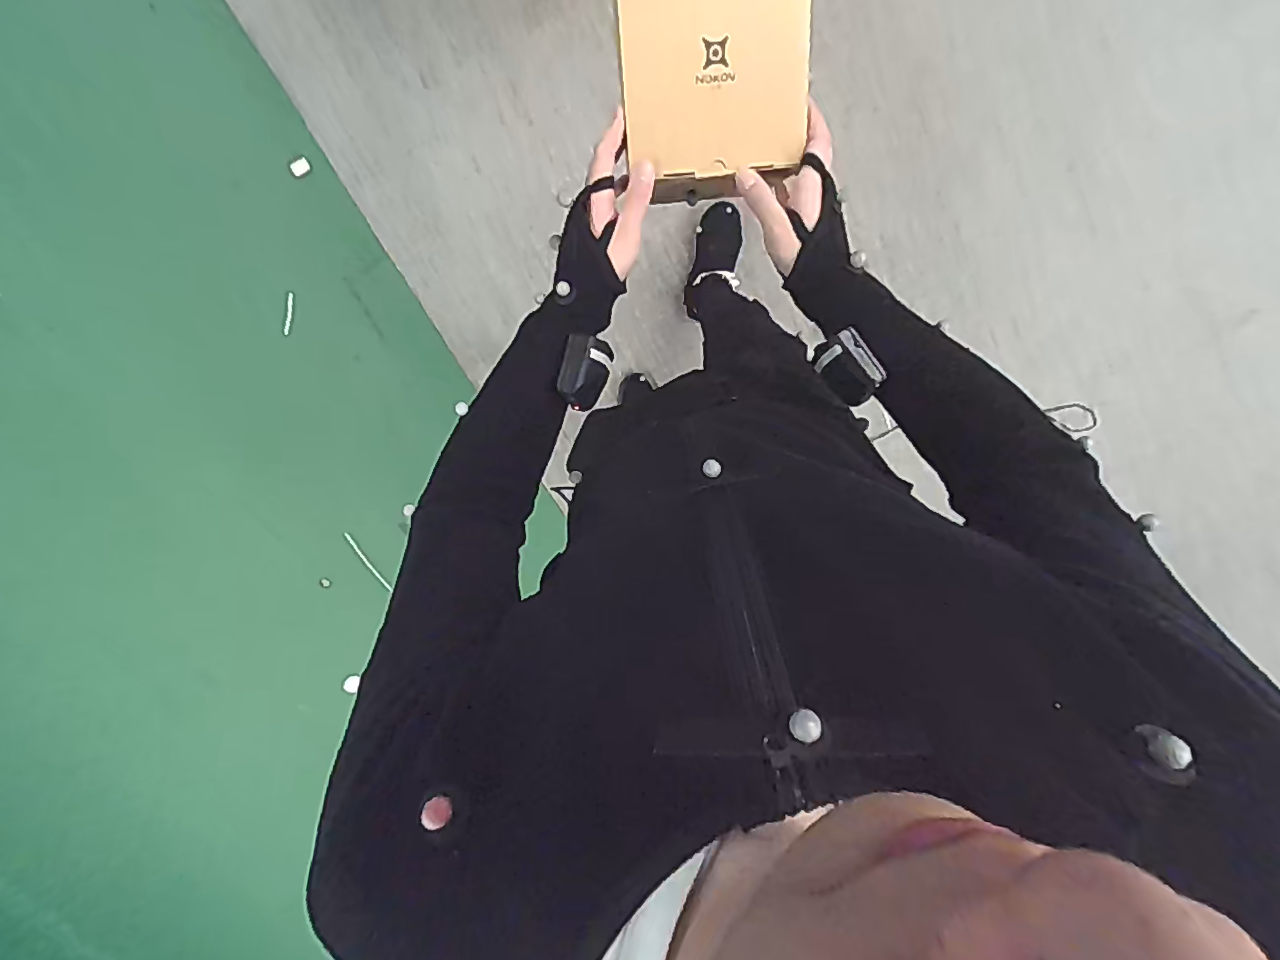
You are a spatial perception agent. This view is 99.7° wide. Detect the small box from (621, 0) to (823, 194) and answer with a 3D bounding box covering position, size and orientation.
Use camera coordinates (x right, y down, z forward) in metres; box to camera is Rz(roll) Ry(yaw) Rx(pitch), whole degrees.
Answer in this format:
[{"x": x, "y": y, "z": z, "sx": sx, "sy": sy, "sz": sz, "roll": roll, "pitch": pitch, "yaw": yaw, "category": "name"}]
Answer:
[{"x": 0.069, "y": -0.396, "z": 0.533, "sx": 0.168, "sy": 0.176, "sz": 0.179, "roll": -5, "pitch": 112, "yaw": 0, "category": "small box"}]
